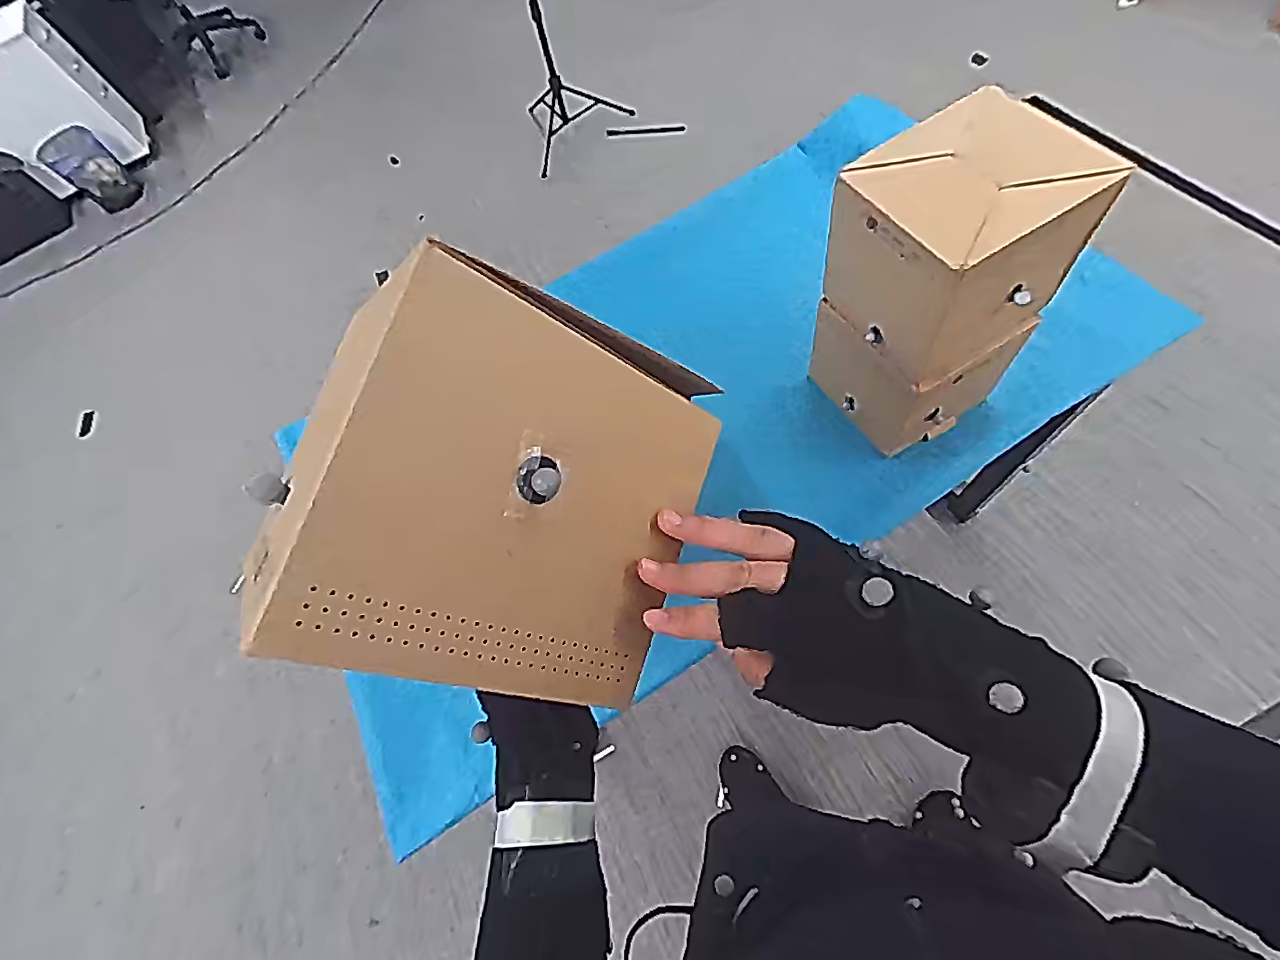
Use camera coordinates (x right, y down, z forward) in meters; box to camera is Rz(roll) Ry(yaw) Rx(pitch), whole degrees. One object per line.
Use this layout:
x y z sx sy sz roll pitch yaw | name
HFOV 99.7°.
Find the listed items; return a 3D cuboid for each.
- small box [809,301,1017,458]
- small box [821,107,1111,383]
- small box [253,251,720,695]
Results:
0.342 -0.166 0.700 0.168 0.176 0.179 -31 63 -4 | small box
0.314 -0.241 0.557 0.179 0.176 0.168 -31 62 0 | small box
-0.088 0.008 0.314 0.168 0.179 0.176 7 77 54 | small box
